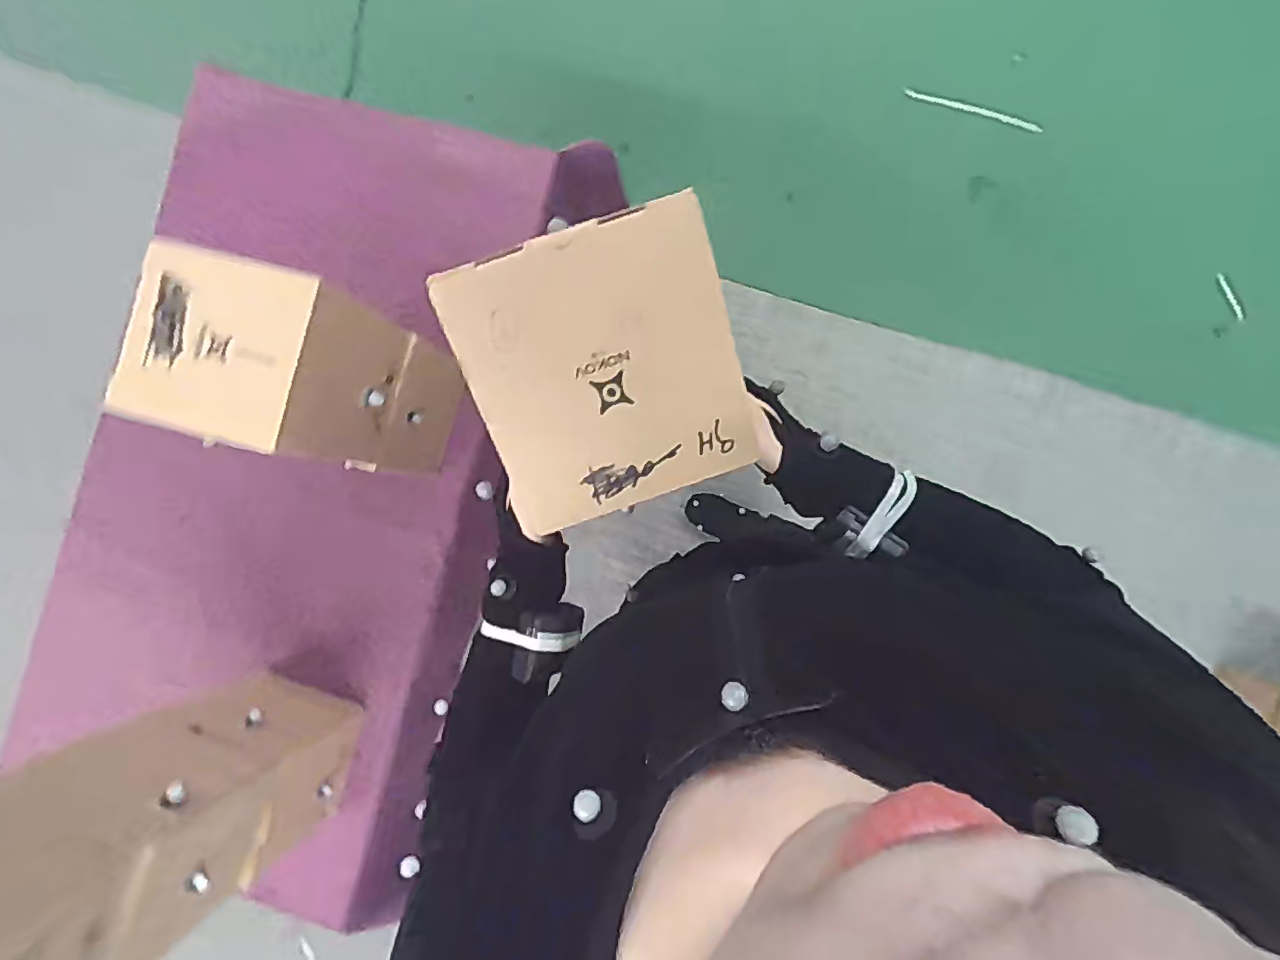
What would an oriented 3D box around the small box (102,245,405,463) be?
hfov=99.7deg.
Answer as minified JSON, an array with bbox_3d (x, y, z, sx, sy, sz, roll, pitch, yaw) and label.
[{"bbox_3d":[-0.387,-0.117,0.573,0.179,0.176,0.168,14,89,5],"label":"small box"}]

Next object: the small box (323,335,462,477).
[{"bbox_3d":[-0.367,-0.107,0.736,0.168,0.176,0.179,17,89,4],"label":"small box"}]

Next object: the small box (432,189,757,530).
[{"bbox_3d":[-0.030,-0.092,0.414,0.168,0.176,0.179,-18,110,0],"label":"small box"}]

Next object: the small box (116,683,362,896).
[{"bbox_3d":[-0.518,0.392,0.723,0.179,0.176,0.168,16,88,4],"label":"small box"}]
